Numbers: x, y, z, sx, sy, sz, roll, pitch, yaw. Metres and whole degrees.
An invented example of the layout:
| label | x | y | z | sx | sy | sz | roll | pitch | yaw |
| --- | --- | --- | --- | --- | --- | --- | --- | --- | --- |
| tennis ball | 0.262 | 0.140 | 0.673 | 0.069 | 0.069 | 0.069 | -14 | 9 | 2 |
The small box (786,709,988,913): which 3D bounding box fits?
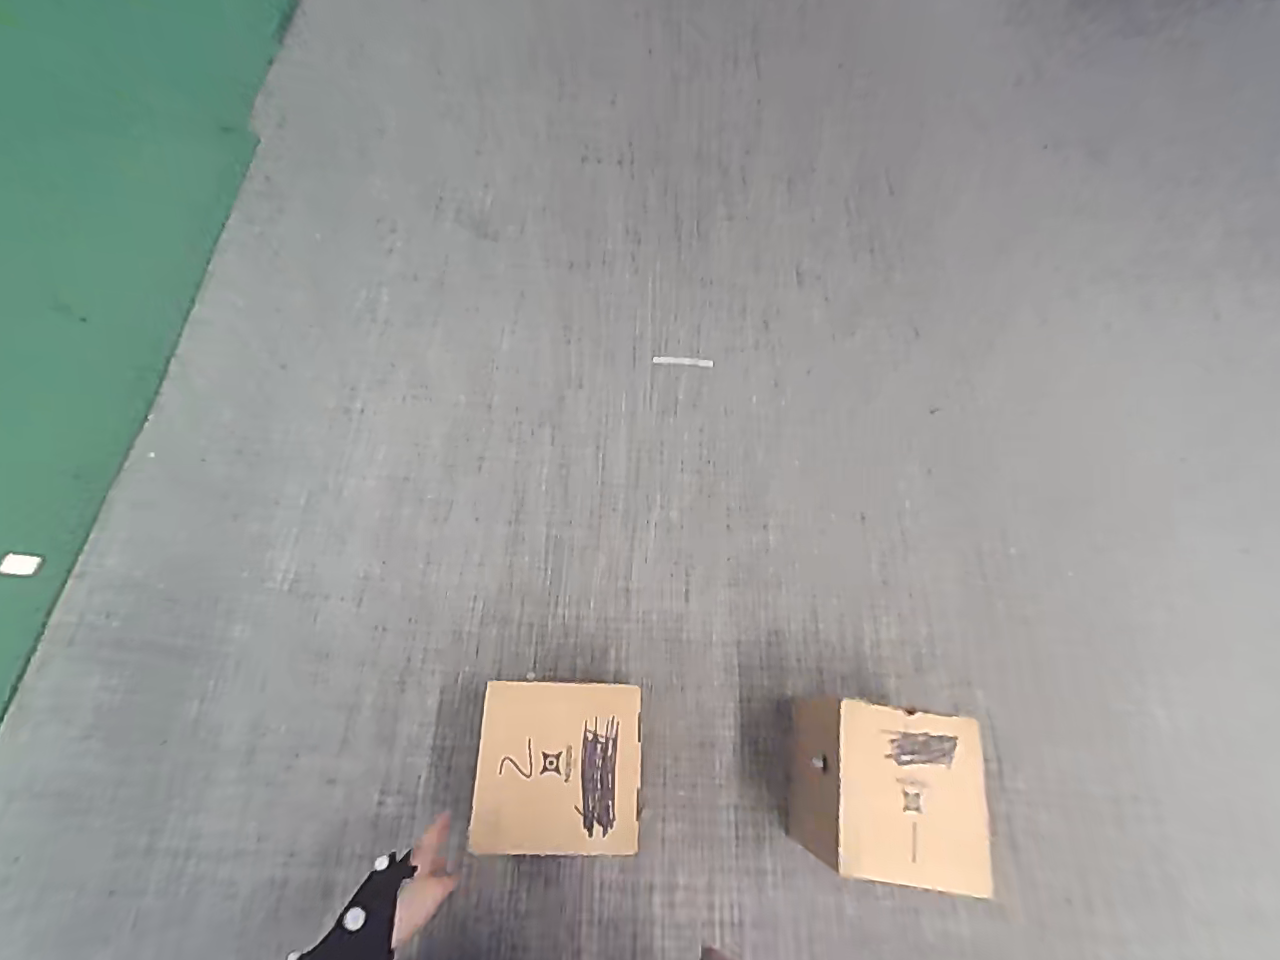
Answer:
| label | x | y | z | sx | sy | sz | roll | pitch | yaw |
| --- | --- | --- | --- | --- | --- | --- | --- | --- | --- |
| small box | 0.288 | 0.388 | 0.666 | 0.168 | 0.176 | 0.179 | 10 | 68 | -1 |
